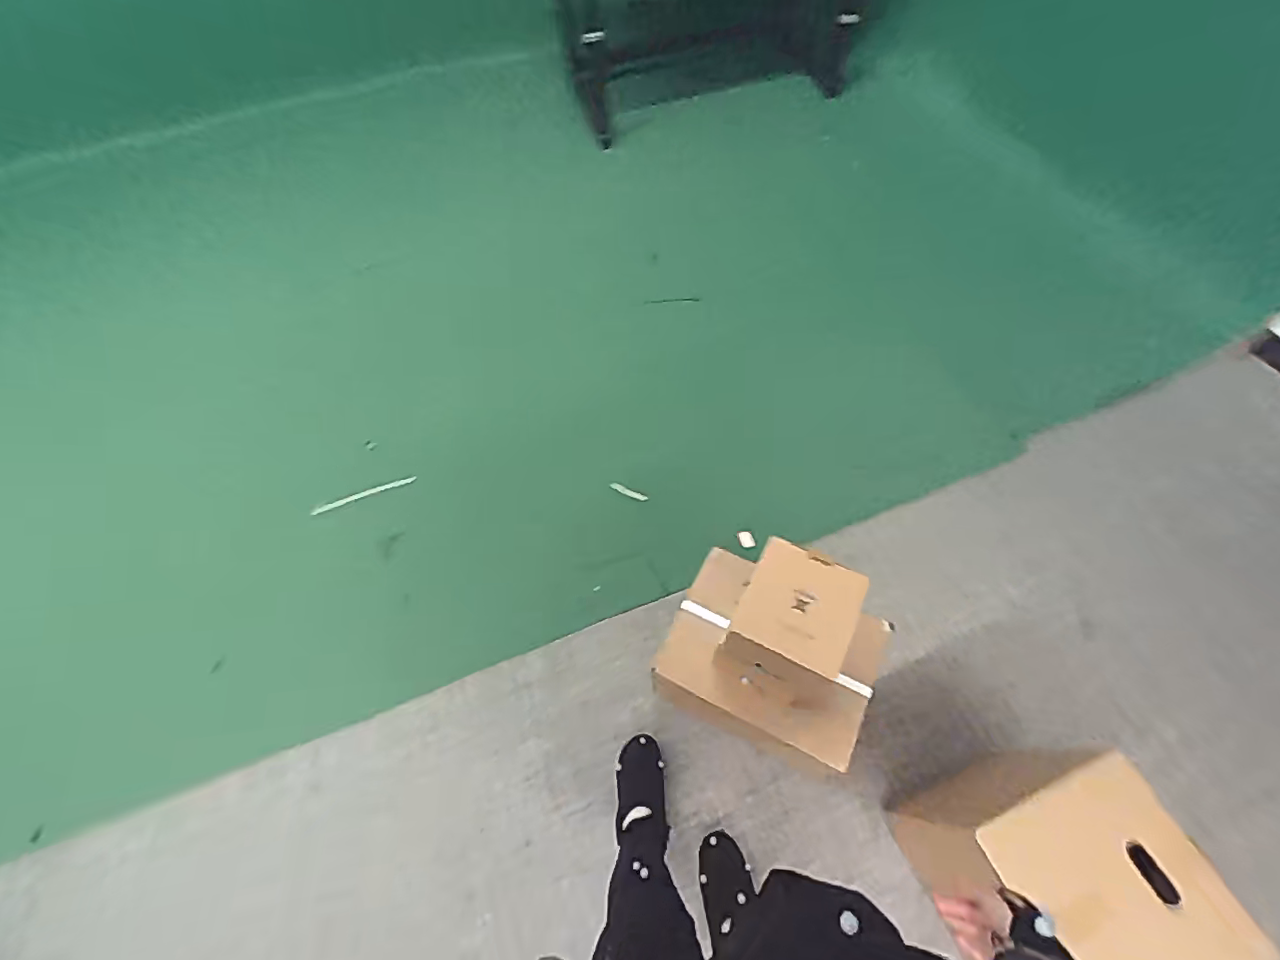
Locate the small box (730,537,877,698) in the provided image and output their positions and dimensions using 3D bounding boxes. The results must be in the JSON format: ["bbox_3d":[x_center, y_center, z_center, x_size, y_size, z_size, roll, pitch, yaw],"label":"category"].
[{"bbox_3d":[0.257,0.229,0.887,0.168,0.176,0.179,25,65,17],"label":"small box"}]

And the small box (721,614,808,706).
[{"bbox_3d":[0.265,0.304,1.031,0.168,0.176,0.179,27,66,18],"label":"small box"}]
